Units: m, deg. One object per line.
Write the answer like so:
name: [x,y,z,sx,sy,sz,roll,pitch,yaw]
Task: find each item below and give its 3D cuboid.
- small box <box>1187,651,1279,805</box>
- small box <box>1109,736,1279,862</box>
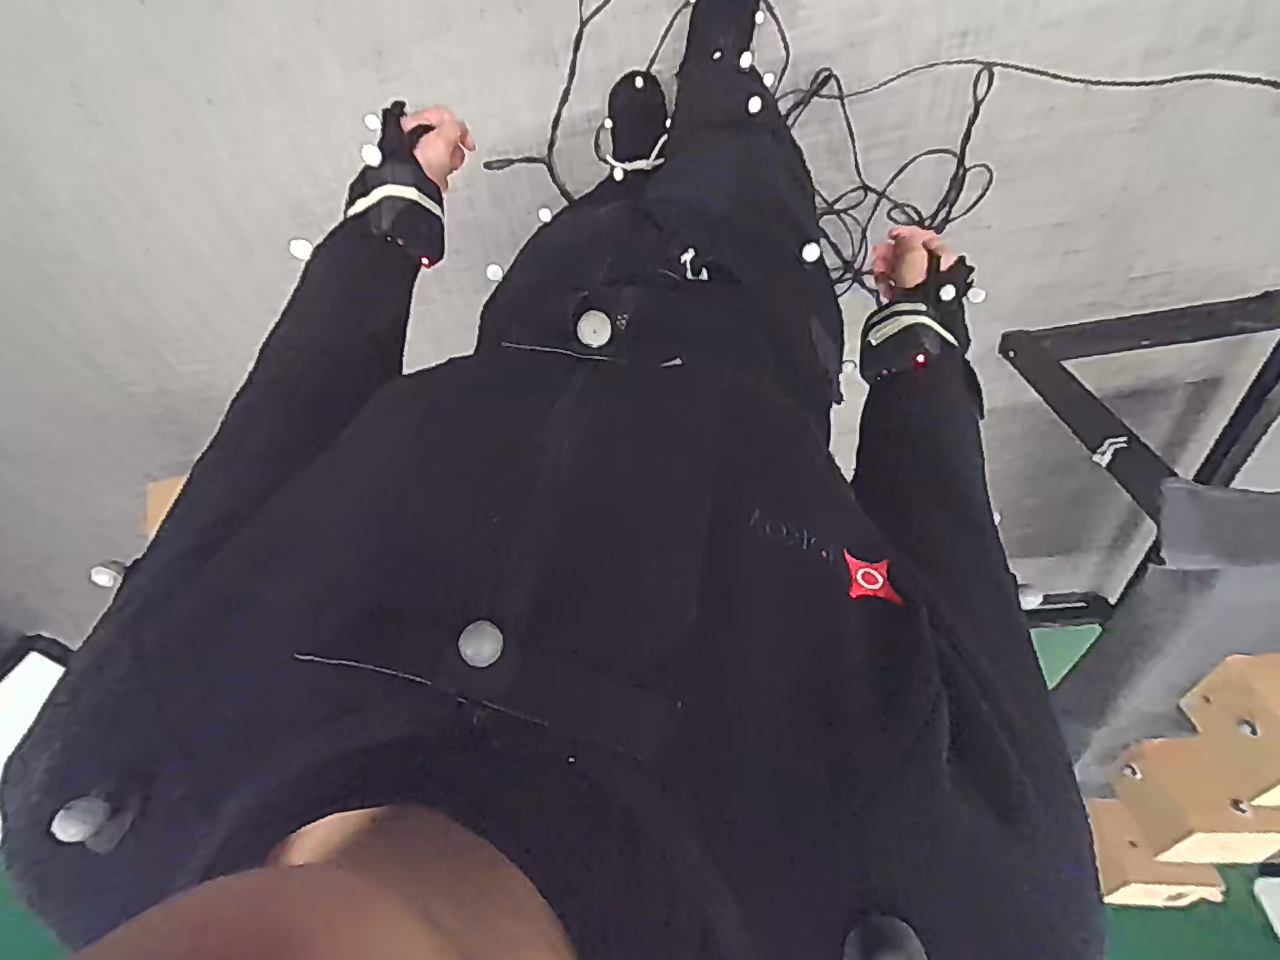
small box: [1.021,0.376,0.830,0.179,0.176,0.168,-6,131,7]
small box: [1.064,0.603,1.028,0.179,0.176,0.168,-5,130,9]
